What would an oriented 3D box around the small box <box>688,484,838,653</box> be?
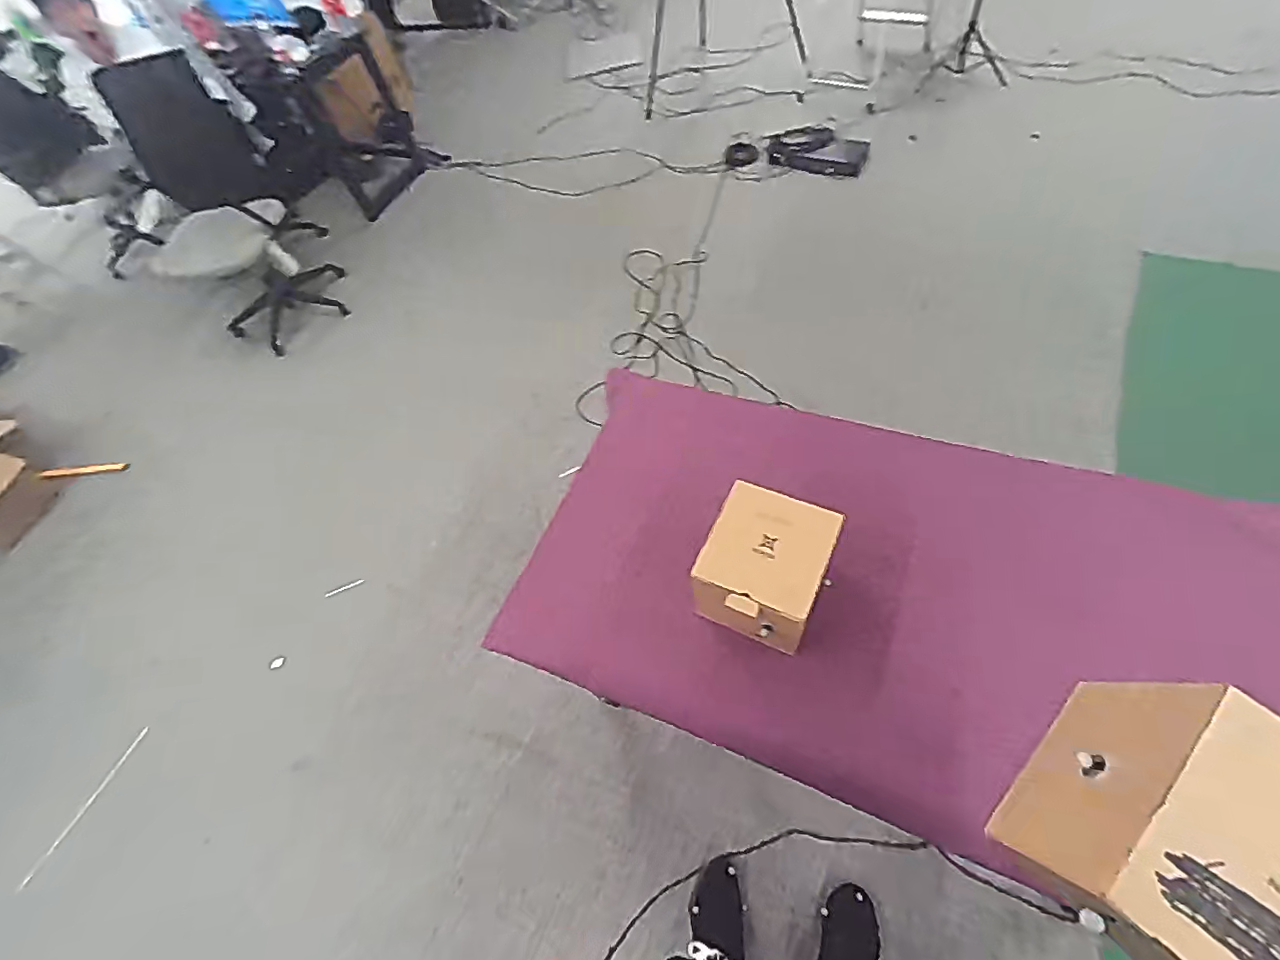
[{"bbox_3d":[0.190,0.142,0.841,0.168,0.176,0.179,21,63,21],"label":"small box"}]
